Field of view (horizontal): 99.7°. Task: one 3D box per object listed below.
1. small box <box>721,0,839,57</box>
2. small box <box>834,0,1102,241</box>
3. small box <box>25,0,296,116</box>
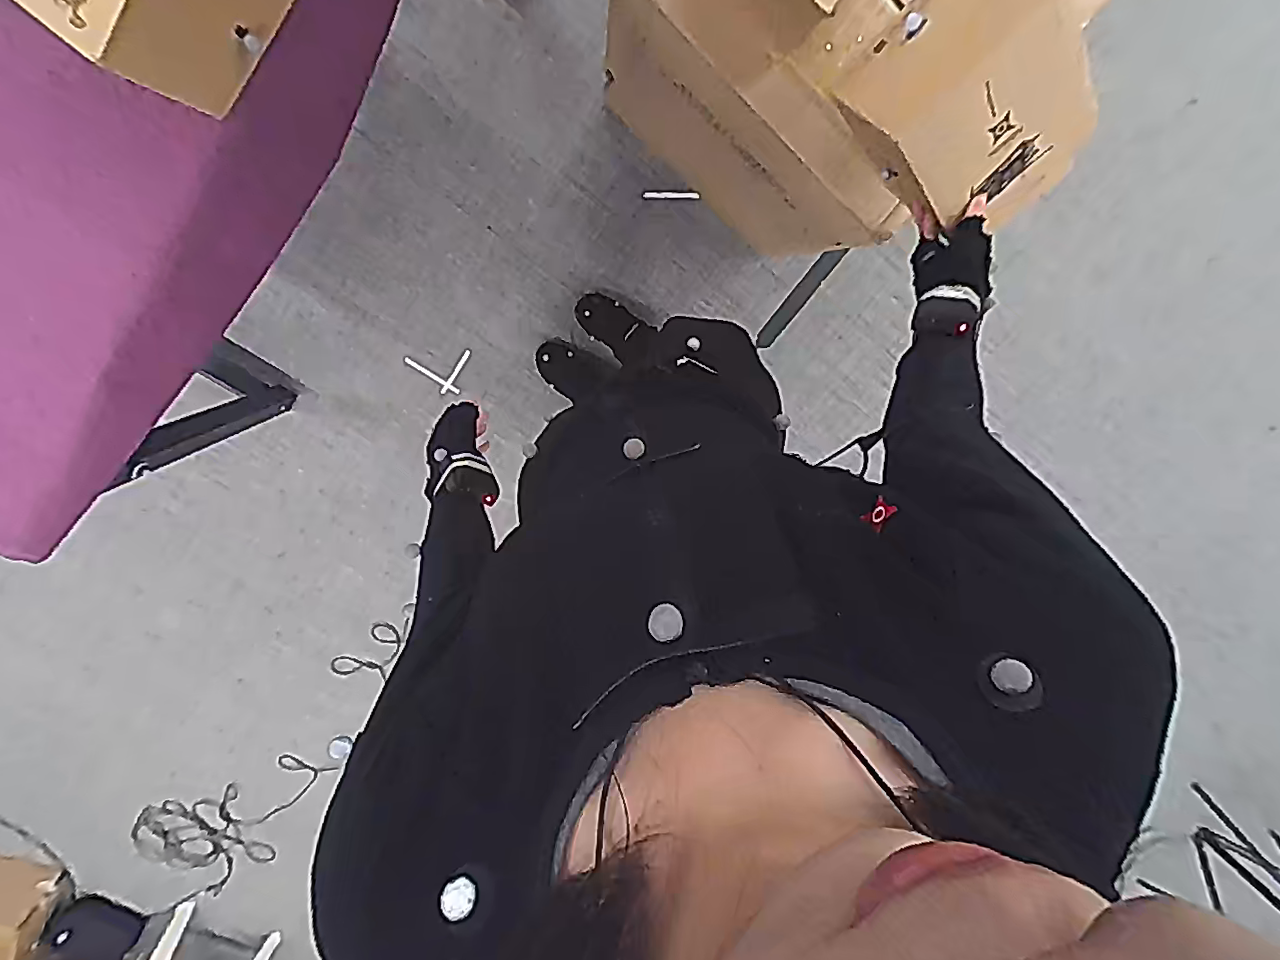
[{"bbox_3d":[0.171,-0.621,0.593,0.179,0.176,0.168,34,106,-17],"label":"small box"},{"bbox_3d":[0.352,-0.416,0.599,0.179,0.176,0.168,27,124,-38],"label":"small box"},{"bbox_3d":[-0.449,-0.476,0.478,0.168,0.176,0.179,39,101,-16],"label":"small box"}]
